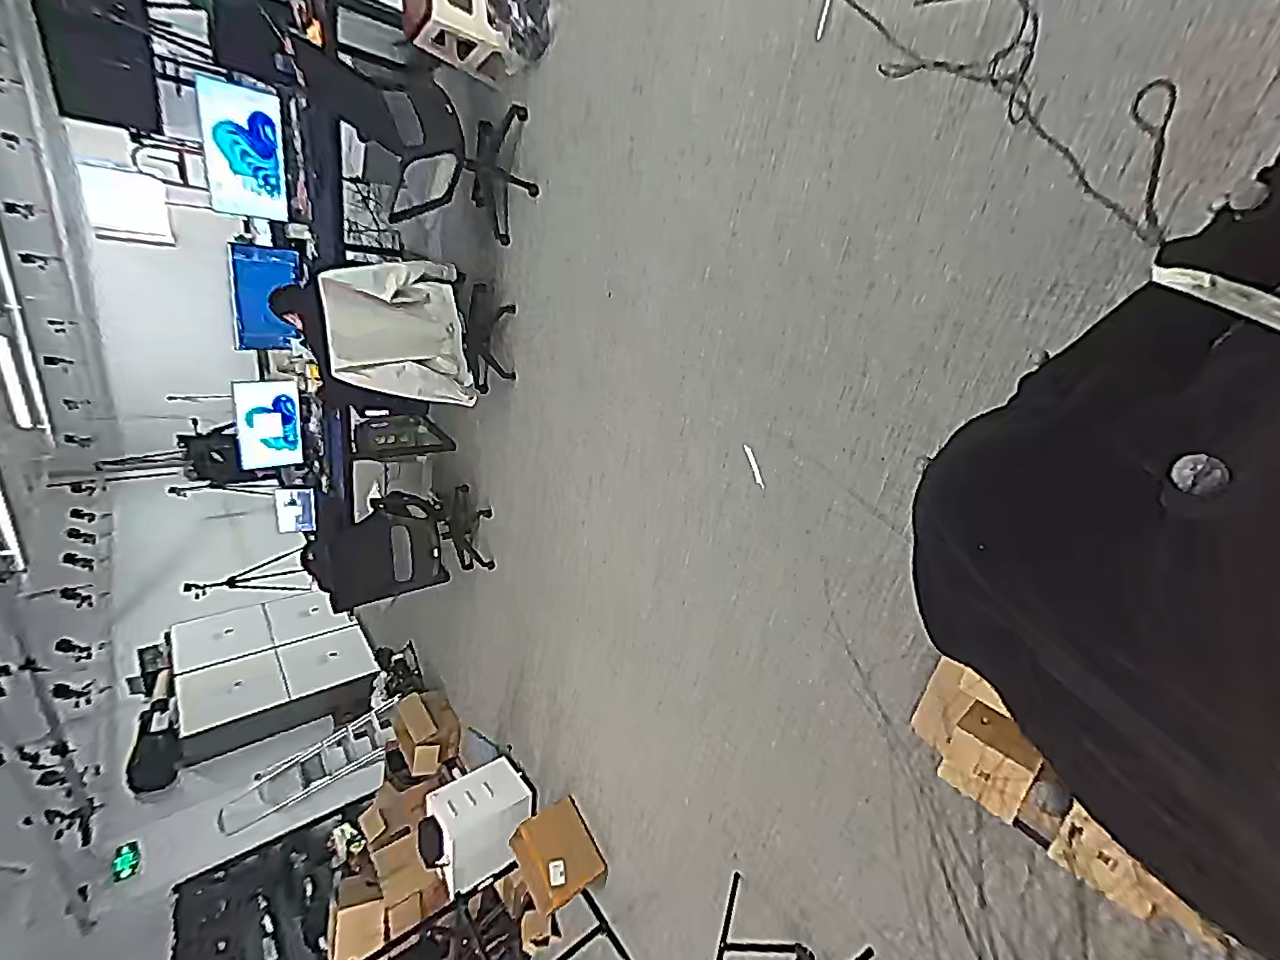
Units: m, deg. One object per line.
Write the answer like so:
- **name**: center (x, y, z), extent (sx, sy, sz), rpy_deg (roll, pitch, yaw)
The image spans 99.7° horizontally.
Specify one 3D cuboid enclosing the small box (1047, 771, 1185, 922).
- **small box**: center (1.035, 0.781, 1.174), extent (0.179, 0.176, 0.168), rpy_deg (27, 117, 42)
